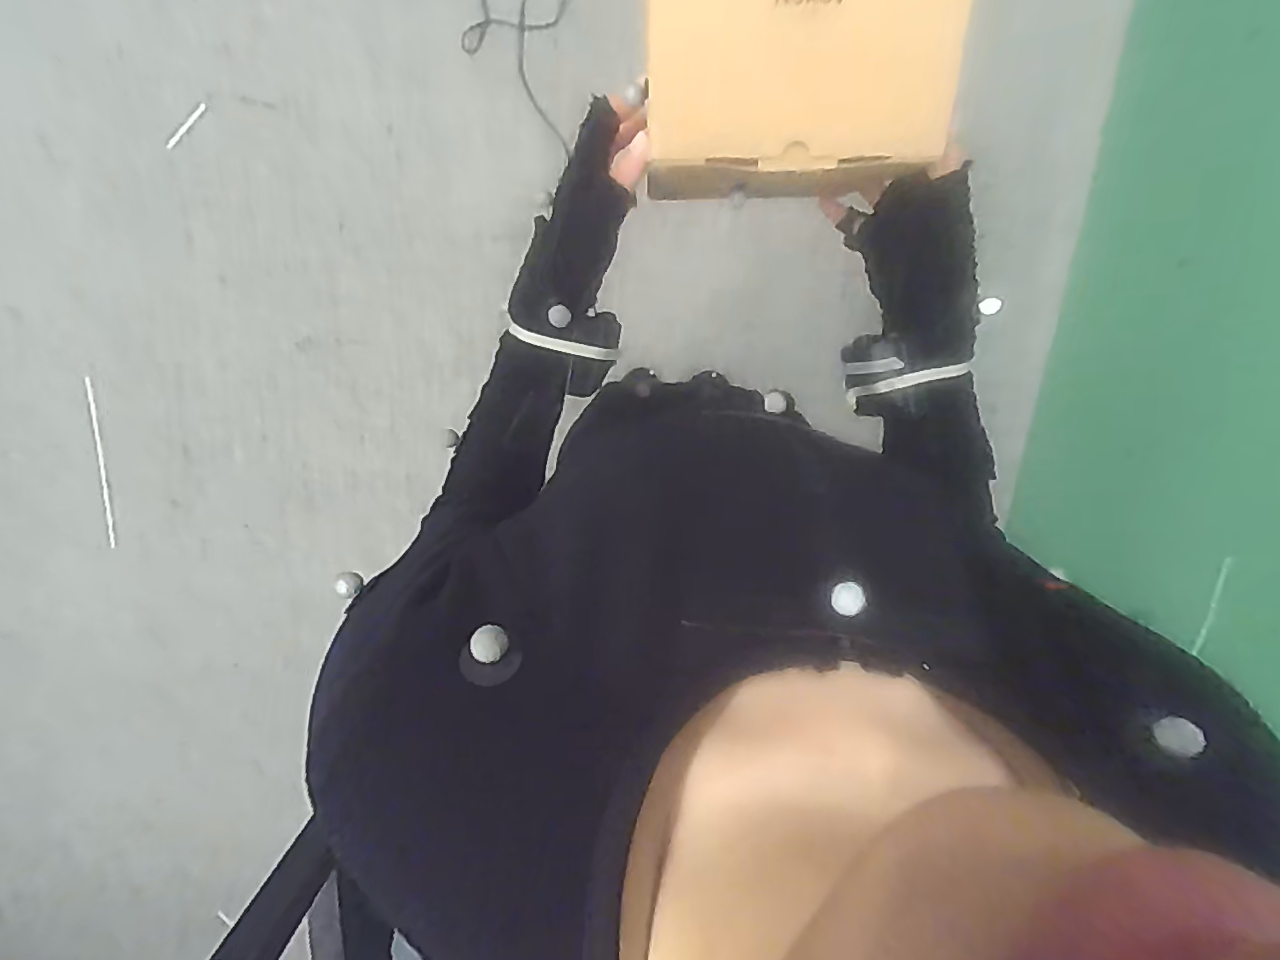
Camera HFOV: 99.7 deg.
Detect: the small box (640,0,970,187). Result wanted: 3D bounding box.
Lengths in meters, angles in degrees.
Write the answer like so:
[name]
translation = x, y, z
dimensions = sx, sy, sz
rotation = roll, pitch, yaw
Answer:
[small box]
translation = 0.083, -0.292, 0.335
dimensions = 0.168, 0.176, 0.179
rotation = -1, 113, 1
